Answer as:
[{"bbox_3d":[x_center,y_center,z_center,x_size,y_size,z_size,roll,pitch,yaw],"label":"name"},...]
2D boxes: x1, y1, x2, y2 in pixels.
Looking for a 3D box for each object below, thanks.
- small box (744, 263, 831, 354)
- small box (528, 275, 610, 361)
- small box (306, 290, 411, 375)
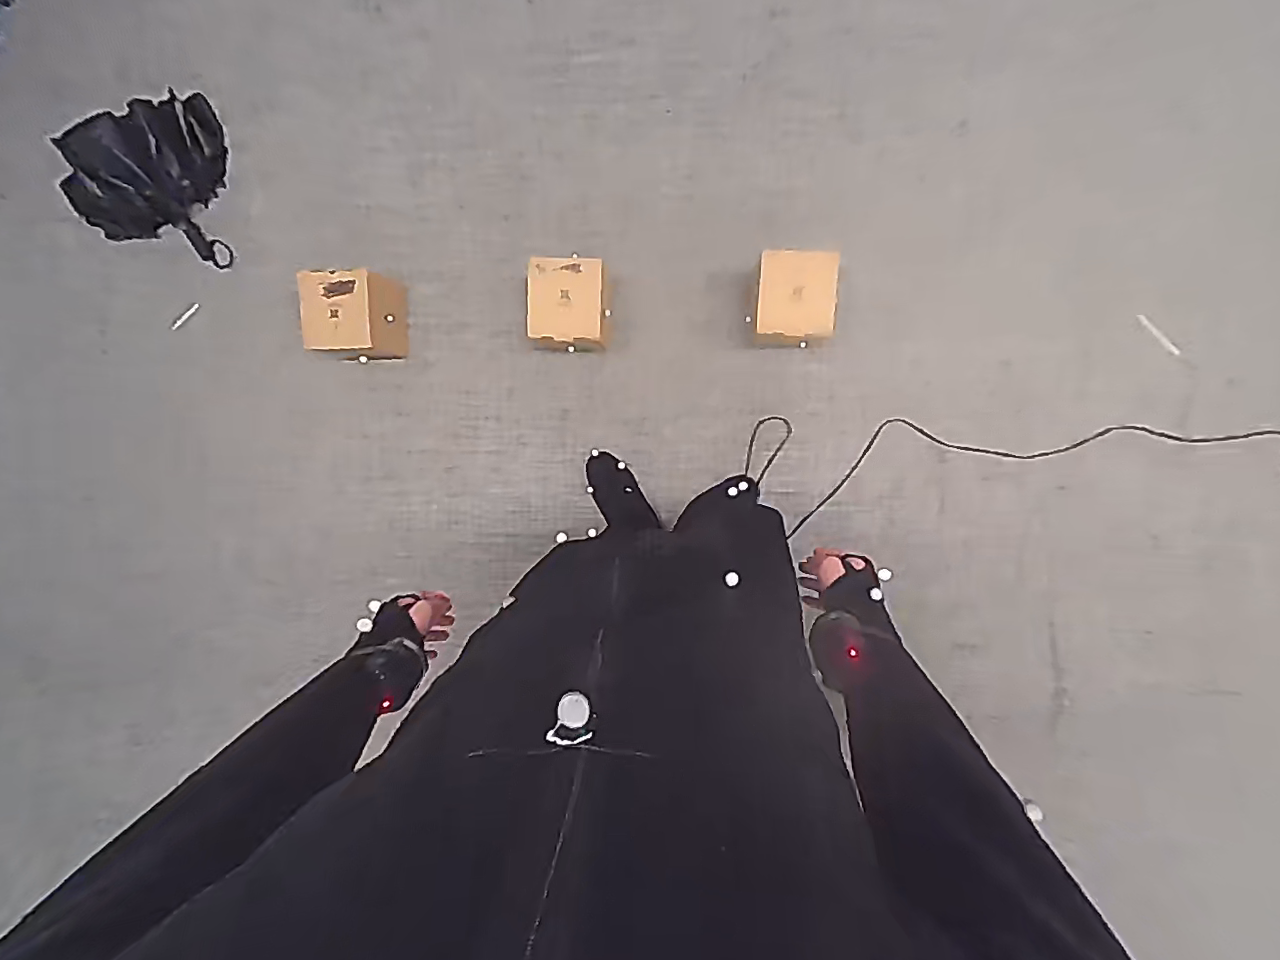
[{"bbox_3d":[0.334,-0.389,1.254,0.168,0.176,0.179,1,94,4],"label":"small box"},{"bbox_3d":[-0.165,-0.380,1.294,0.168,0.176,0.179,1,96,4],"label":"small box"},{"bbox_3d":[-0.686,-0.358,1.334,0.168,0.176,0.179,-1,96,5],"label":"small box"}]
